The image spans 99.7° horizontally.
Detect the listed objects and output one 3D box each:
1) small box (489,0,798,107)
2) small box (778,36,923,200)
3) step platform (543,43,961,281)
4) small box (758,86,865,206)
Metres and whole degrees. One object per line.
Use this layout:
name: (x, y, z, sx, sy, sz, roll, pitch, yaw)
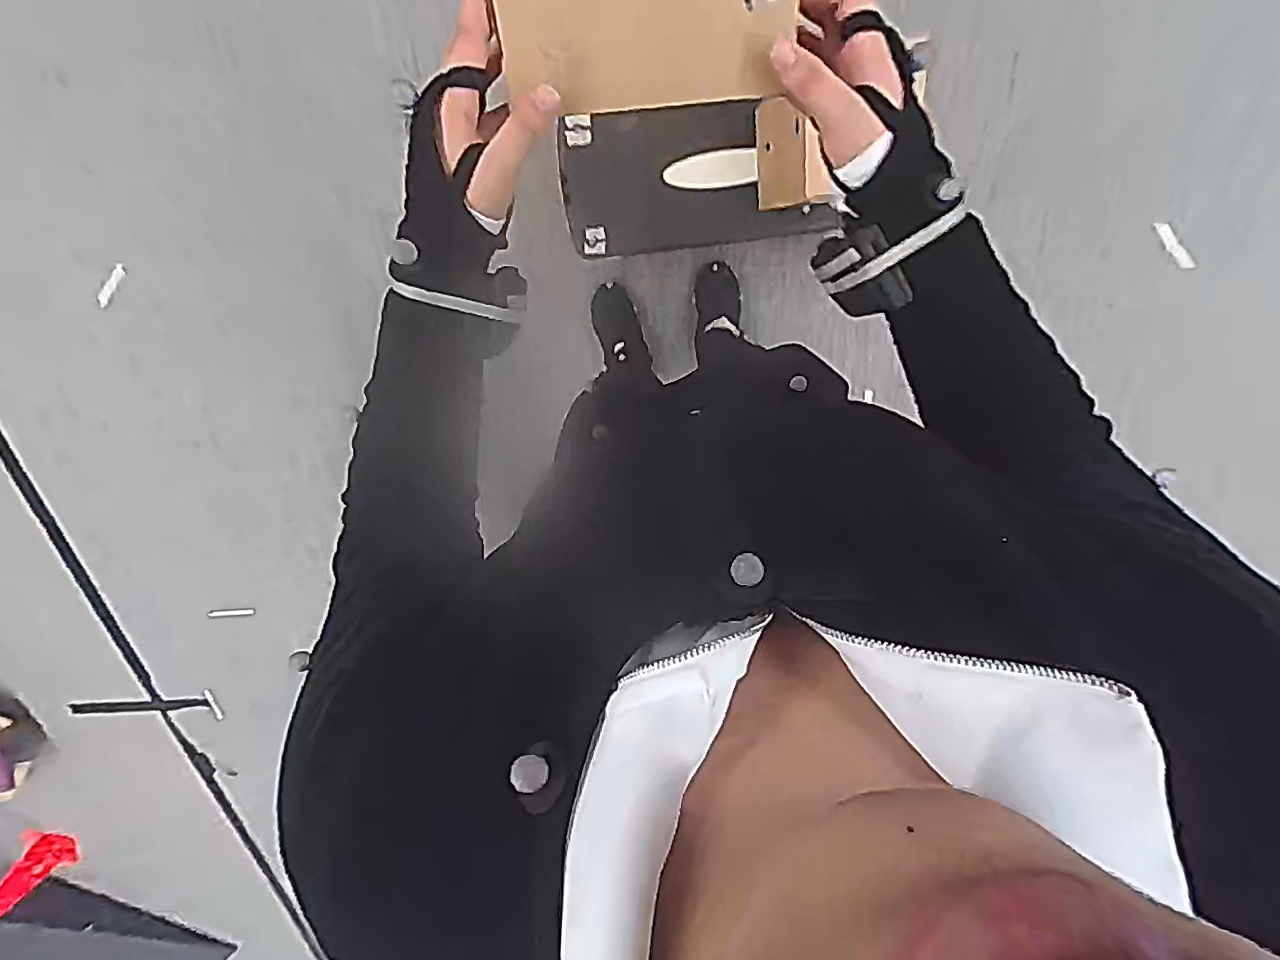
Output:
small box: (0.000, -0.344, 0.347, 0.179, 0.176, 0.168, -4, 126, 2)
small box: (0.315, -0.547, 0.842, 0.168, 0.176, 0.179, -6, 115, 4)
step platform: (0.182, -0.551, 0.984, 0.684, 0.204, 0.286, -6, 114, 3)
small box: (0.308, -0.611, 0.994, 0.168, 0.176, 0.179, -6, 115, 4)
